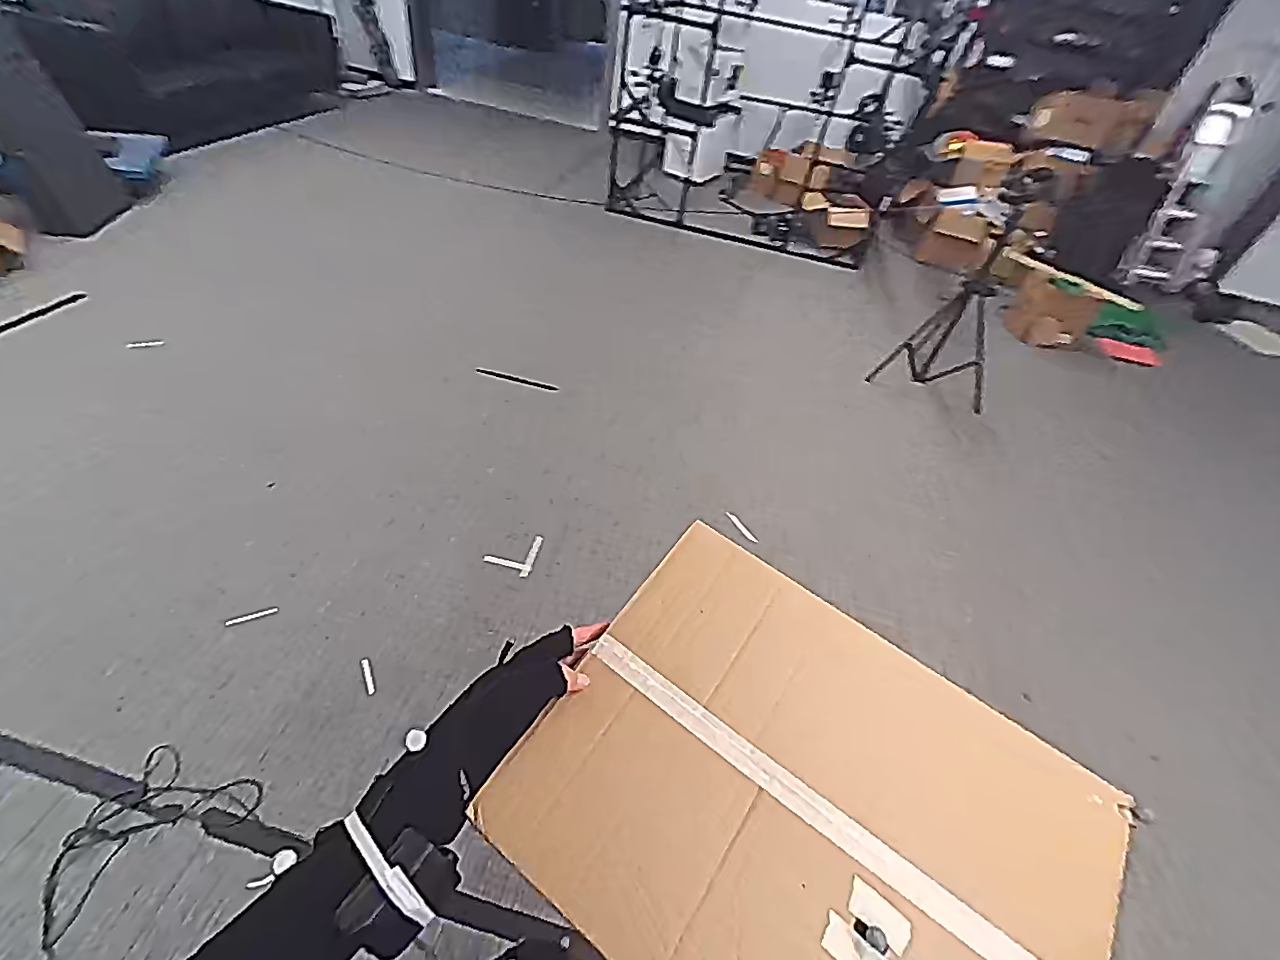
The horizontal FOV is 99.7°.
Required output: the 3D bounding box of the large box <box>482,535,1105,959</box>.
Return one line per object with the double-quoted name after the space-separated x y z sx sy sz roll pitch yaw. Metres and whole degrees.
0.117 0.333 0.539 0.408 0.320 0.320 32 60 17 "large box"
